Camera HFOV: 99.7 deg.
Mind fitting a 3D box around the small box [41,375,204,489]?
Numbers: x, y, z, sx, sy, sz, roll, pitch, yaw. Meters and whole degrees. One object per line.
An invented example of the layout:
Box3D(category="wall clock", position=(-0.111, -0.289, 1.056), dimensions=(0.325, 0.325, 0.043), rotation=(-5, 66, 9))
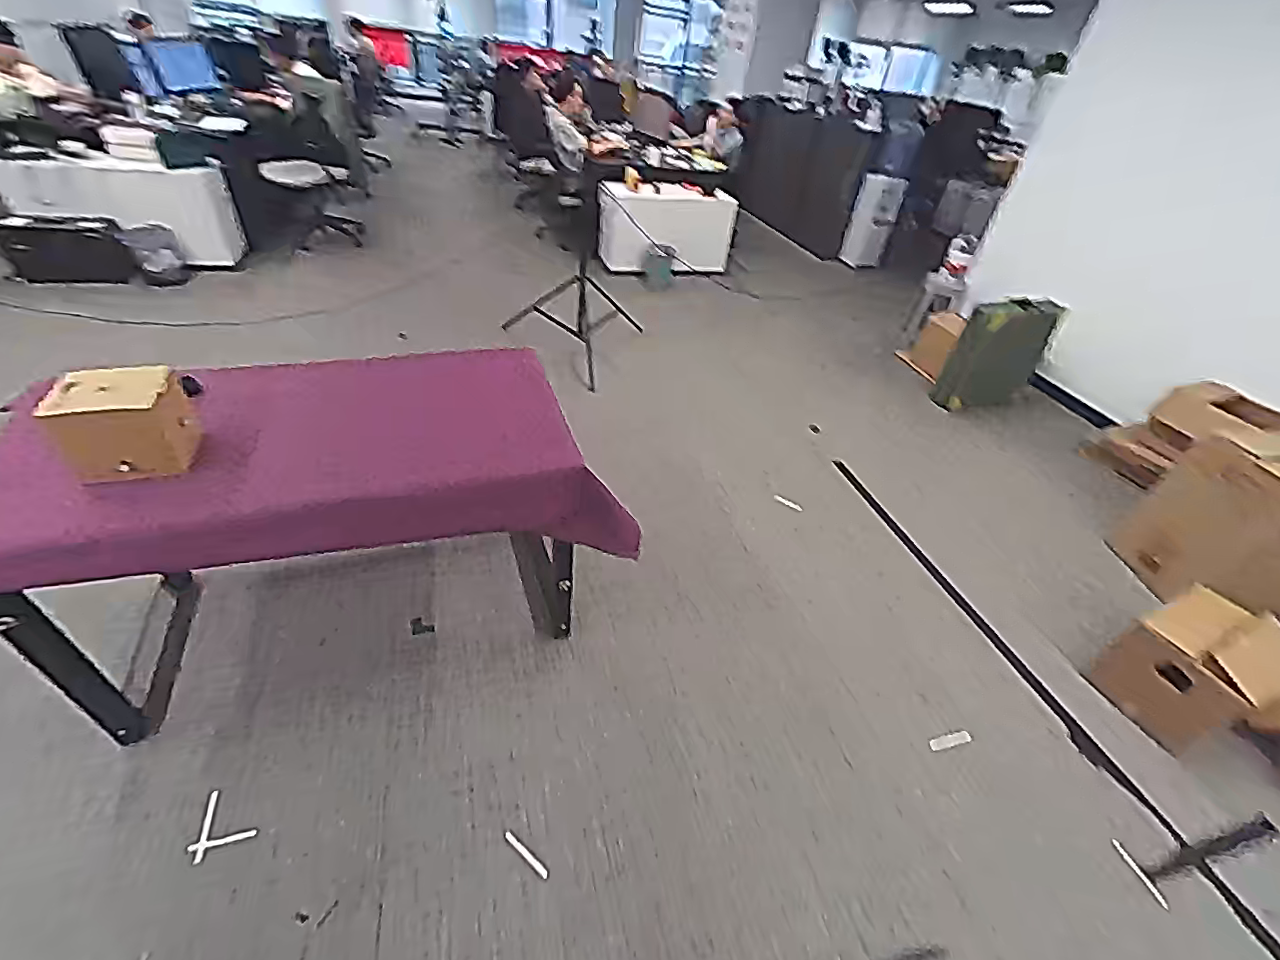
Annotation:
Box3D(category="small box", position=(-1.047, -0.101, 1.118), dimensions=(0.179, 0.176, 0.168), rotation=(-8, 41, -20))
